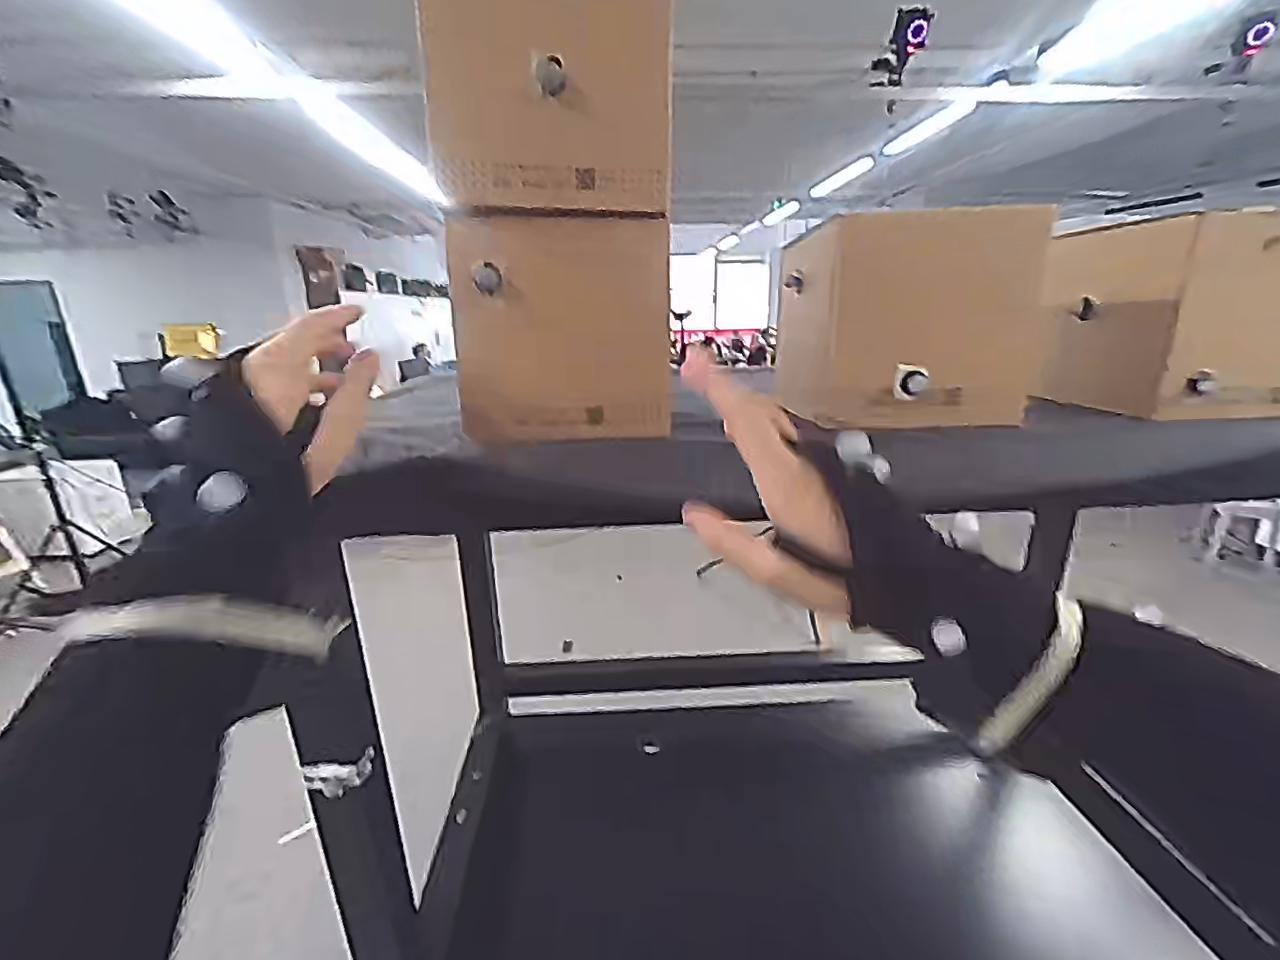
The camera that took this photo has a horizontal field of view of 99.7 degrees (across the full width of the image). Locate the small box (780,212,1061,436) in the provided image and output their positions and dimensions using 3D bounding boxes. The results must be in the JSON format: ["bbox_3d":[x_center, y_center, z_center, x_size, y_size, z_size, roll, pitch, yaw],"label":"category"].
[{"bbox_3d":[0.232,-0.138,0.500,0.168,0.176,0.179,-2,16,0],"label":"small box"}]

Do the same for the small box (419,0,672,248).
[{"bbox_3d":[-0.069,-0.286,0.431,0.168,0.176,0.179,-2,17,-9],"label":"small box"}]

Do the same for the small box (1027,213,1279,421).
[{"bbox_3d":[0.515,-0.151,0.519,0.168,0.176,0.179,-1,16,-1],"label":"small box"}]
